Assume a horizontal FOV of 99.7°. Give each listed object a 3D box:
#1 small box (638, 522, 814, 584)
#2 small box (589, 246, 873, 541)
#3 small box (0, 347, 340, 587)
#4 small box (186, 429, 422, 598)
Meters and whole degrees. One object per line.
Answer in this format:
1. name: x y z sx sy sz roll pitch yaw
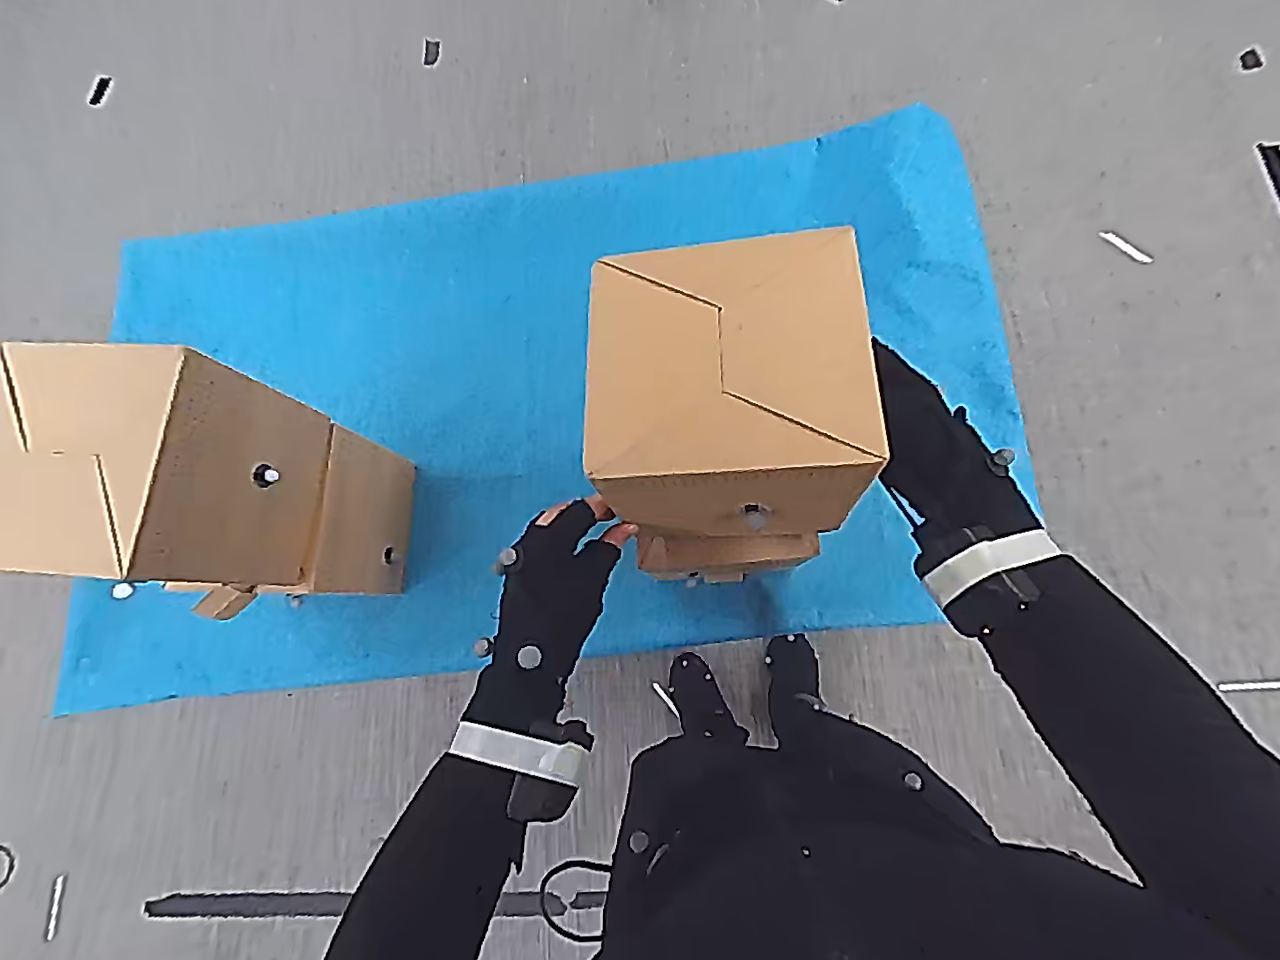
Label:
1. small box: 0.085 0.013 0.589 0.168 0.176 0.179 -7 75 5
2. small box: 0.068 -0.053 0.420 0.179 0.176 0.168 -4 70 10
3. small box: -0.409 0.000 0.480 0.168 0.176 0.179 3 79 7
4. small box: -0.382 0.047 0.636 0.168 0.176 0.179 -1 77 6
